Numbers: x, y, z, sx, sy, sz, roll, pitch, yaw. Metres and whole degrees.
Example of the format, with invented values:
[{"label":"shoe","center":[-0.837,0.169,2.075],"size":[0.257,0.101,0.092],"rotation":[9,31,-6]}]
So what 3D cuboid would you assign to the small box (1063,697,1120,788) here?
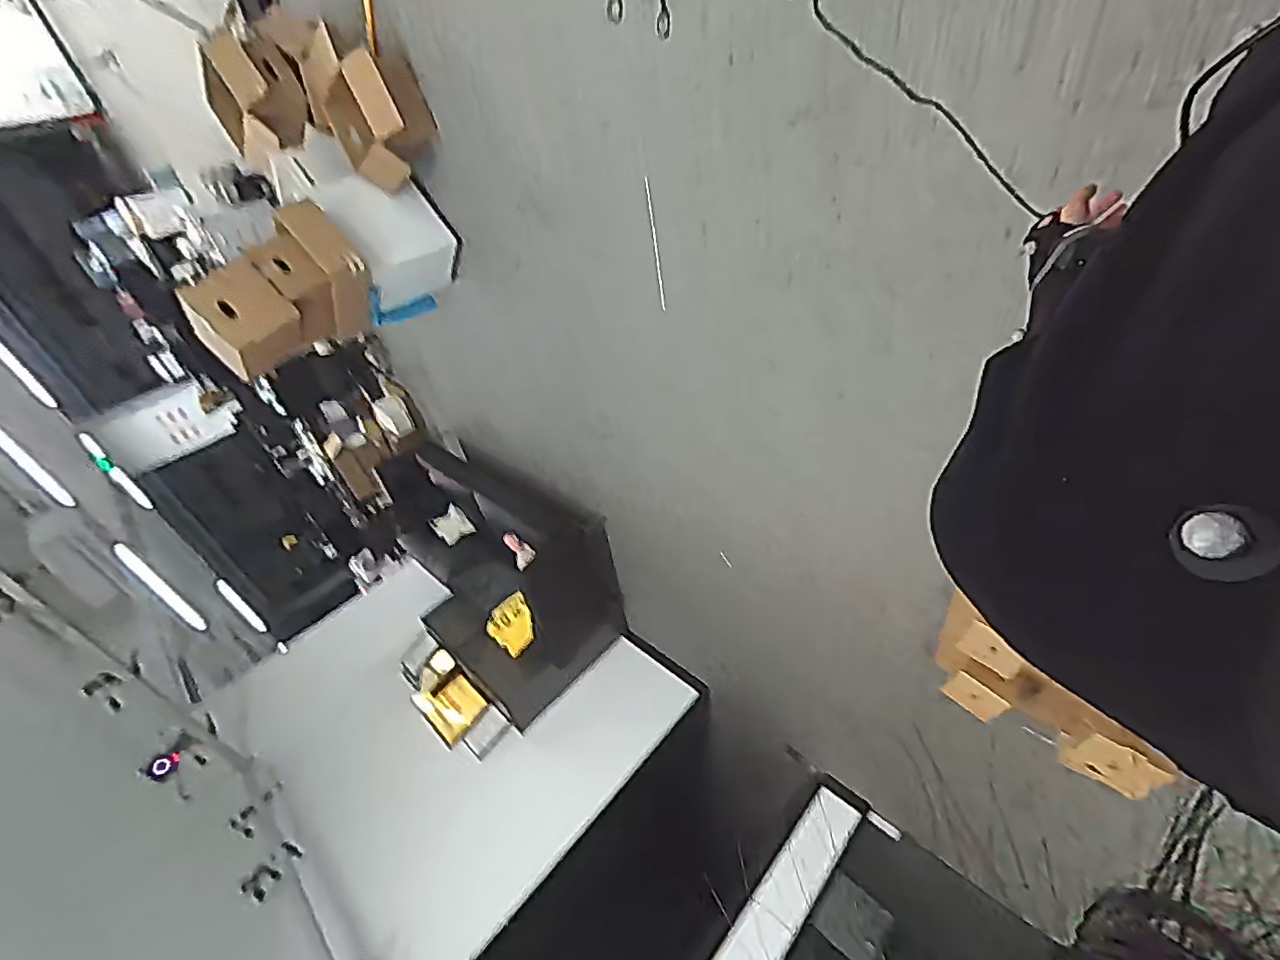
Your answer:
[{"label":"small box","center":[1.449,0.813,1.679],"size":[0.179,0.176,0.168],"rotation":[13,132,49]}]

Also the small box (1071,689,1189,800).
[{"label":"small box","center":[1.299,0.694,1.433],"size":[0.168,0.176,0.179],"rotation":[33,144,32]}]

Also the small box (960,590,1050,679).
[{"label":"small box","center":[1.162,0.484,1.718],"size":[0.168,0.176,0.179],"rotation":[32,145,33]}]
